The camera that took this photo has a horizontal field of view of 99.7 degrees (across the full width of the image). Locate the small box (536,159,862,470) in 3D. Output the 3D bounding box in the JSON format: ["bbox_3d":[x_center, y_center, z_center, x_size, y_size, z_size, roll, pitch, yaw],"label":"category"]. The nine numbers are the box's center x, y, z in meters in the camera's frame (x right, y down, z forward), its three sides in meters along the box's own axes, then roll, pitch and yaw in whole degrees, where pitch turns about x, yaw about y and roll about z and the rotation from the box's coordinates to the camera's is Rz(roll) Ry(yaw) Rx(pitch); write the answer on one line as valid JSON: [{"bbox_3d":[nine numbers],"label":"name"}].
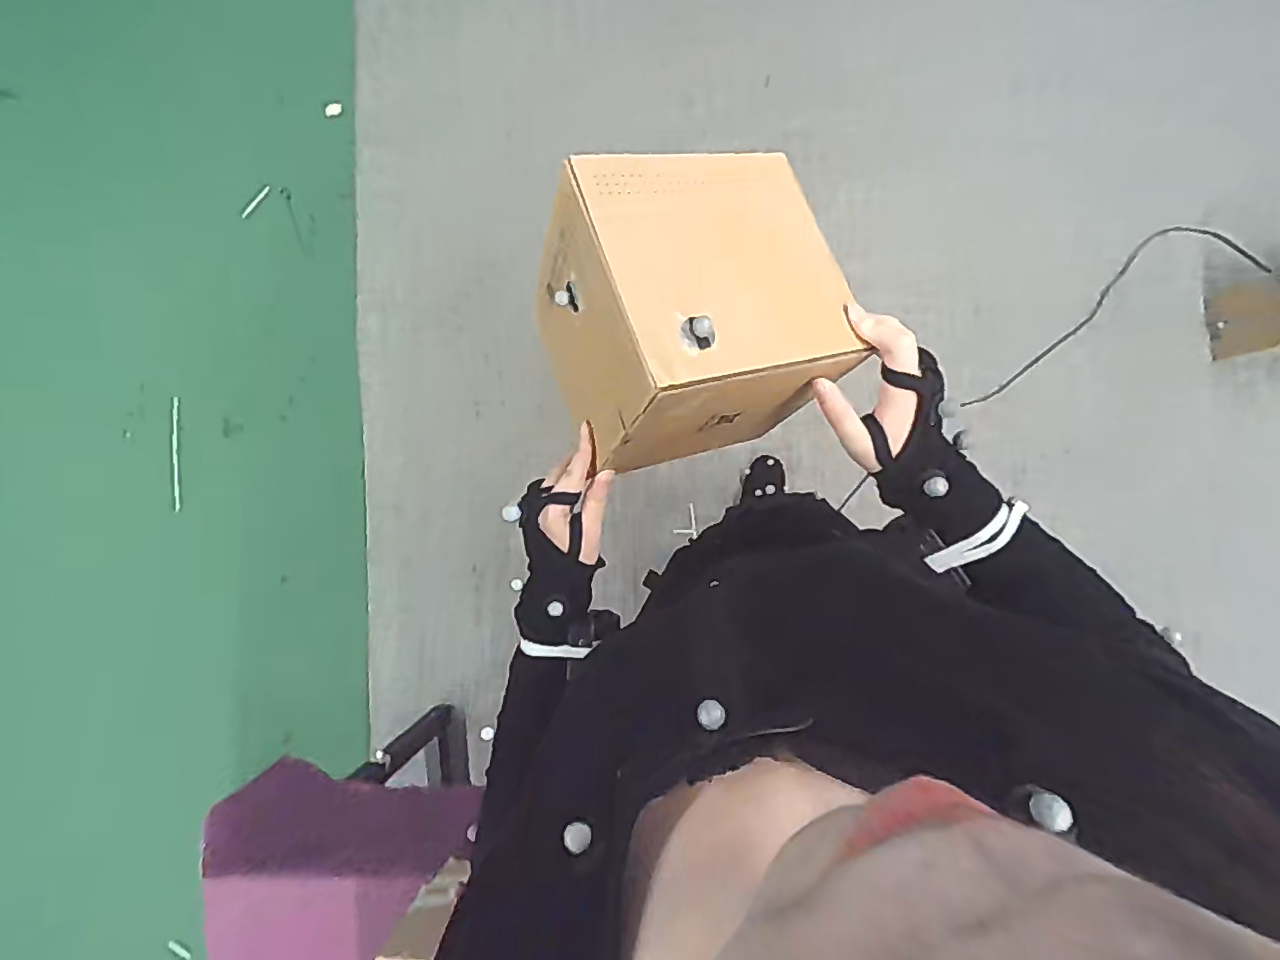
[{"bbox_3d":[0.031,-0.126,0.435,0.179,0.168,0.176,-13,76,-22],"label":"small box"}]
